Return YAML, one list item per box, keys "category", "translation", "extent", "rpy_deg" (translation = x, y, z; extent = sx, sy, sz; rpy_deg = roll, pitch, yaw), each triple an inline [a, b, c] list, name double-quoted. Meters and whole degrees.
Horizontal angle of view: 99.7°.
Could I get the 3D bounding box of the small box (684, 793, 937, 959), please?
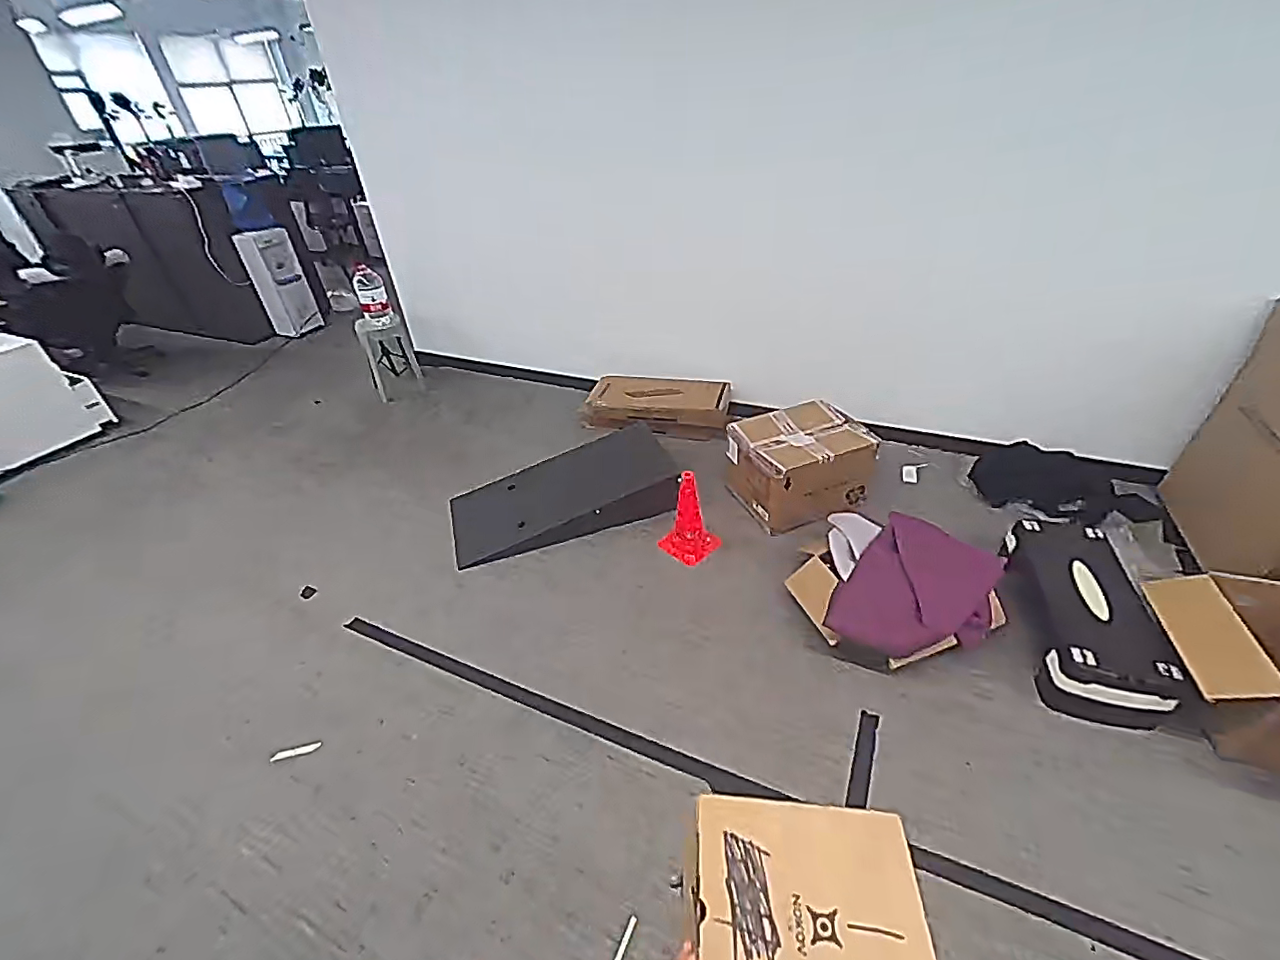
- category: "small box"
  translation: [0.127, 0.390, 0.455]
  extent: [0.179, 0.176, 0.168]
  rpy_deg: [4, 41, 3]
